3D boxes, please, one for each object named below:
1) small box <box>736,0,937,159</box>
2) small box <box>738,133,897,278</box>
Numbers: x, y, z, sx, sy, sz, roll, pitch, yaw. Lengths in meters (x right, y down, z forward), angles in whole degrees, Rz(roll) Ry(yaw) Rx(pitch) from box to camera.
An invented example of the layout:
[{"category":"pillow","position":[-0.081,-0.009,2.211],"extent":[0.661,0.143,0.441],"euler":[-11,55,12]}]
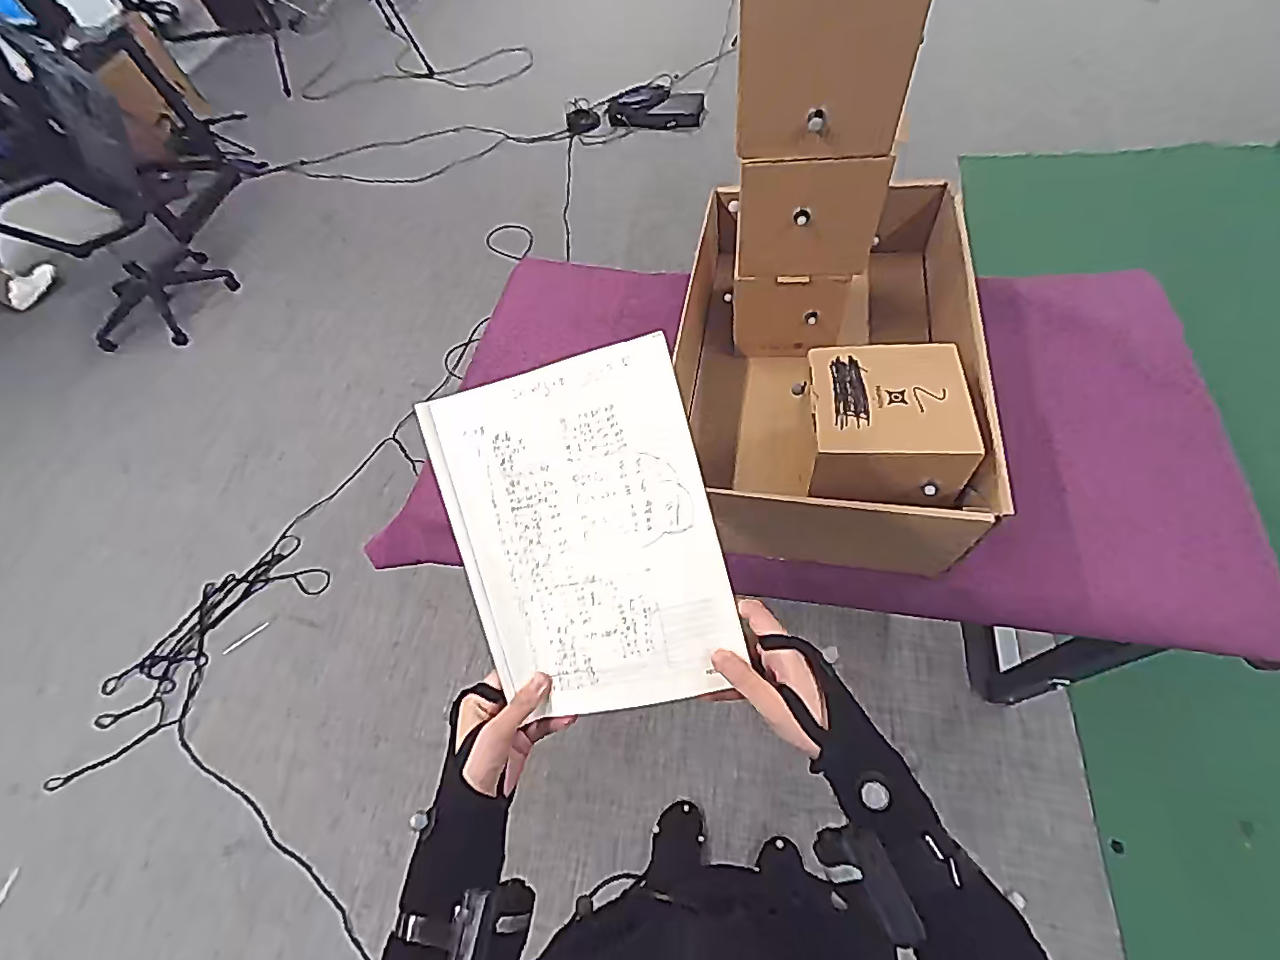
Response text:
[{"category":"small box","position":[0.204,-0.480,0.595],"extent":[0.179,0.176,0.168],"euler":[6,60,11]},{"category":"small box","position":[0.228,-0.393,0.733],"extent":[0.179,0.176,0.168],"euler":[3,60,11]}]
